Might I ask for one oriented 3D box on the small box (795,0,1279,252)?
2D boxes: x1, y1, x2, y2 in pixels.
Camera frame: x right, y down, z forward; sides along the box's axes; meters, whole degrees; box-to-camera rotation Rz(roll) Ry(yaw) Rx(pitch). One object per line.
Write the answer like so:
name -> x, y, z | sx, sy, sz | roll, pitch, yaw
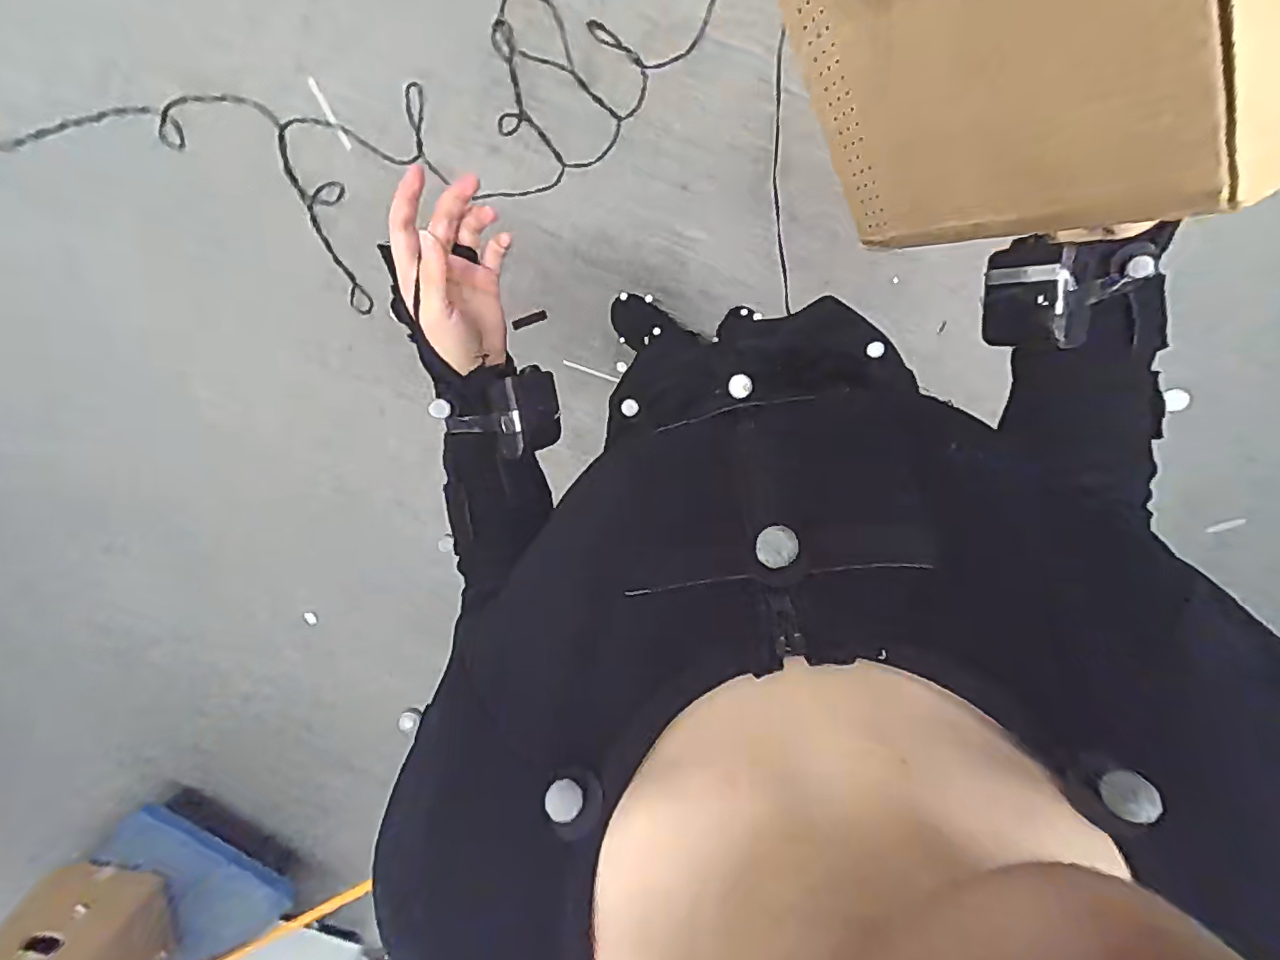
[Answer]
small box -> 0.170, -0.201, 0.184 | 0.168, 0.176, 0.179 | -30, 111, 3
